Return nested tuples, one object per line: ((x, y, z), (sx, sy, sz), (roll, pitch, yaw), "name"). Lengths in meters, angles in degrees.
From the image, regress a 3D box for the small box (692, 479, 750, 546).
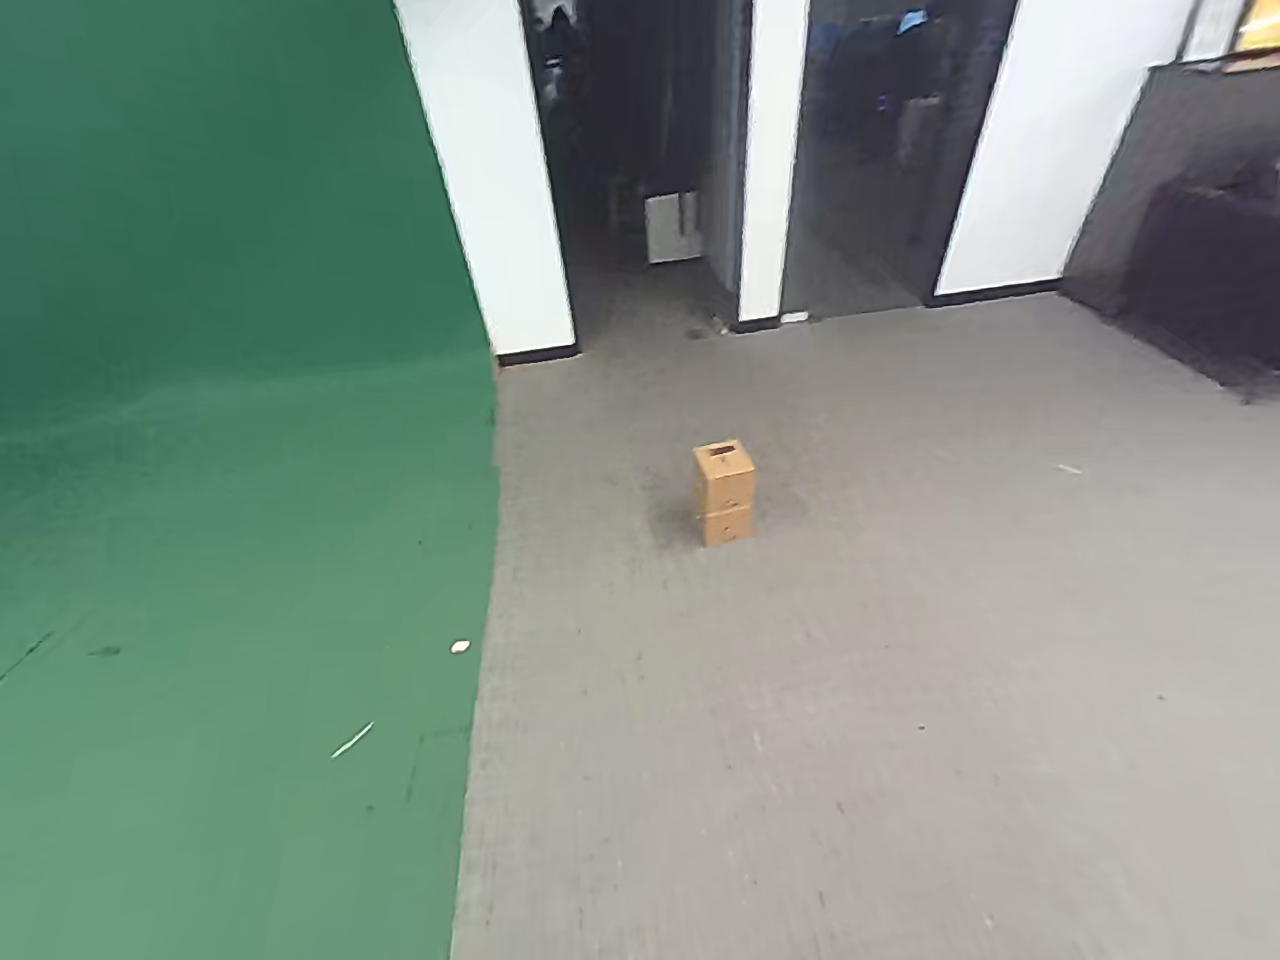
((0.298, 0.127, 1.994), (0.168, 0.176, 0.179), (-12, 42, -8), "small box")
